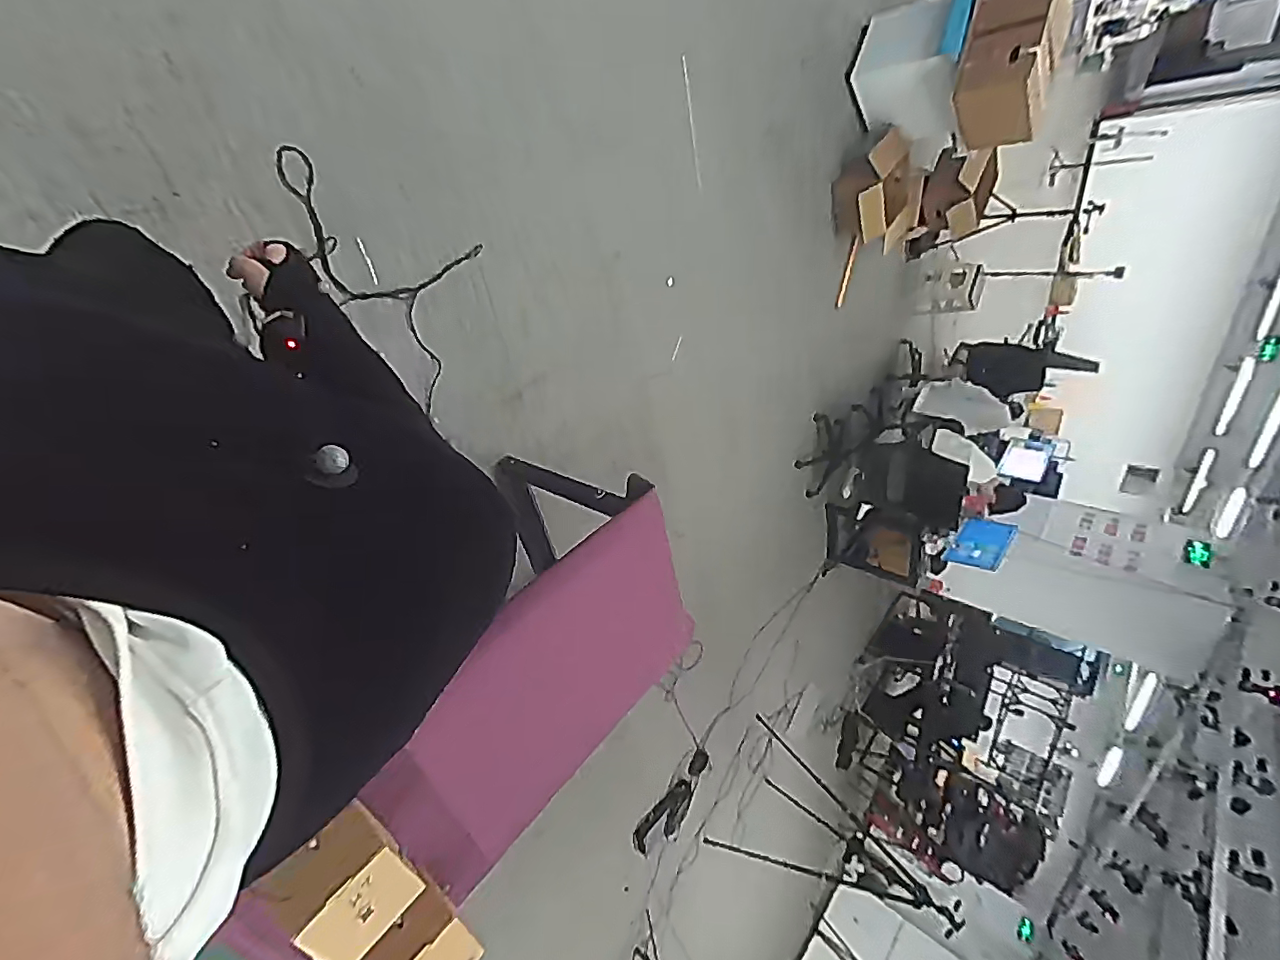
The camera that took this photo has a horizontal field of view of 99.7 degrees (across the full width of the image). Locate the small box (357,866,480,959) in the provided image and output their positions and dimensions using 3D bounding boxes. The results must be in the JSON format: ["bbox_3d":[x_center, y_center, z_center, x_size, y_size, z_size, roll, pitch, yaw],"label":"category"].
[{"bbox_3d":[-0.477,0.968,1.141,0.168,0.176,0.179,-37,127,-35],"label":"small box"}]

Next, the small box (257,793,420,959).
[{"bbox_3d":[-0.538,0.709,0.971,0.168,0.176,0.179,-40,132,-35],"label":"small box"}]
